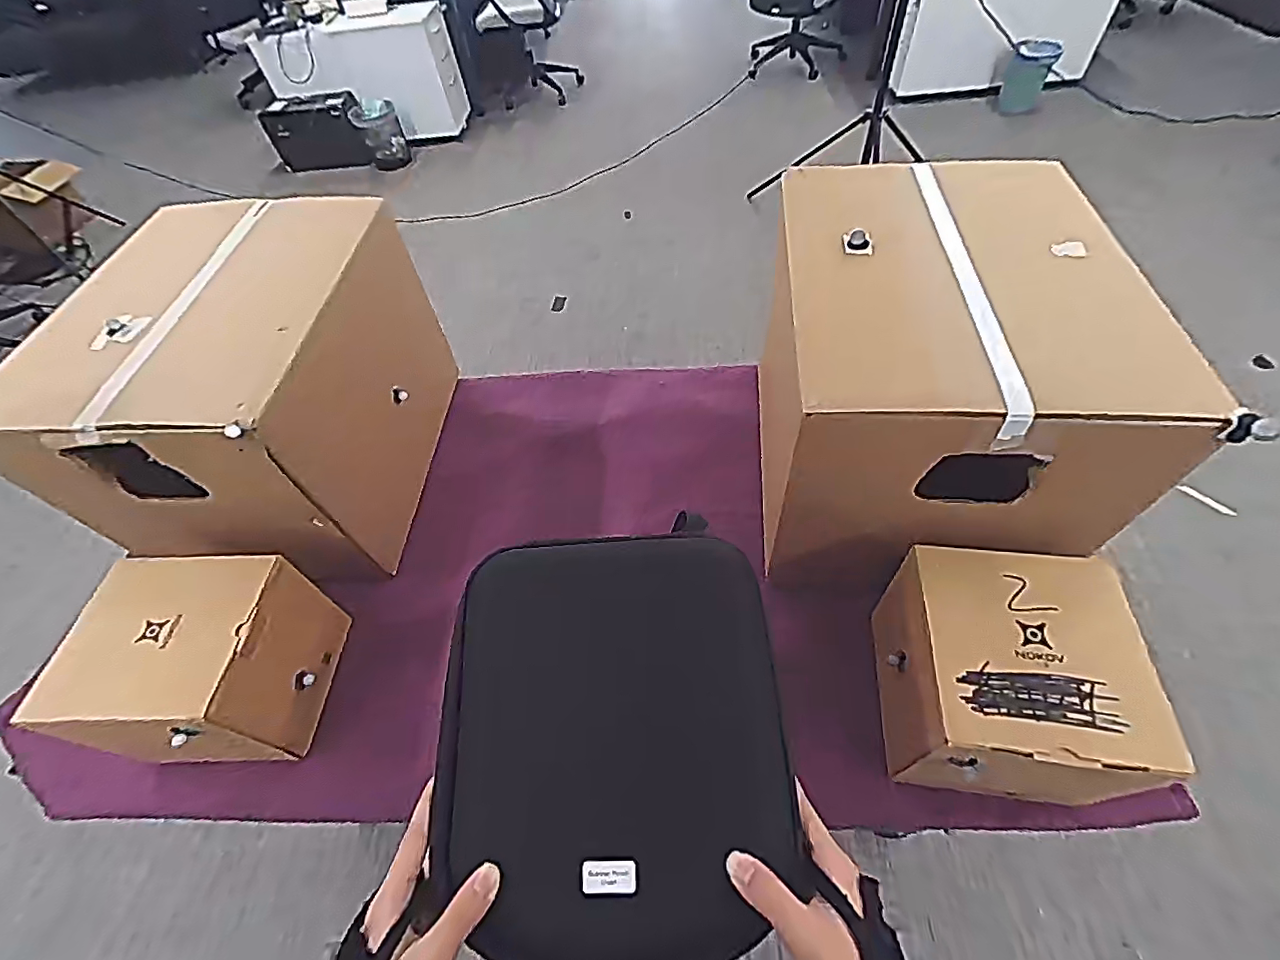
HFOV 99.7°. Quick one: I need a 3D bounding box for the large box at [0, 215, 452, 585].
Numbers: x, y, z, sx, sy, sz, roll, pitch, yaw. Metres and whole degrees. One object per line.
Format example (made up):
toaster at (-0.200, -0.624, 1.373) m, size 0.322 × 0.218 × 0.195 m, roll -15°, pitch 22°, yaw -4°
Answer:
large box at (-0.486, -0.103, 0.736) m, size 0.320 × 0.320 × 0.408 m, roll -2°, pitch 56°, yaw 4°
